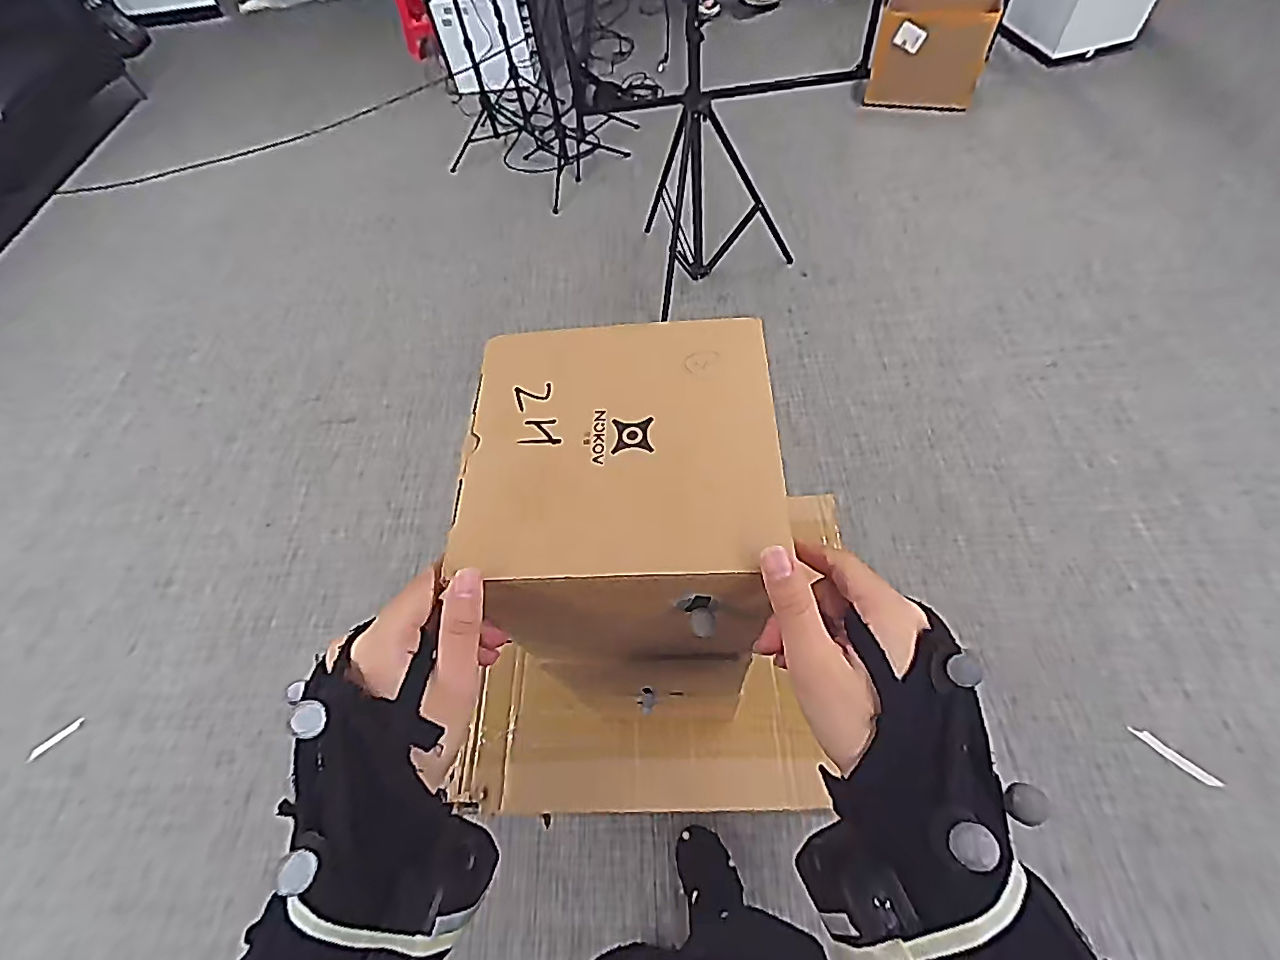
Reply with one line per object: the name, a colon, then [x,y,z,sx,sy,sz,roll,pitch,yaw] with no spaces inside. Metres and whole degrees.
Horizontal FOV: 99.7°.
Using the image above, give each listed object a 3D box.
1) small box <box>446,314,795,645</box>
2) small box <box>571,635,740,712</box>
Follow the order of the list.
small box: [-0.004,0.011,0.372,0.179,0.176,0.168,-3,59,5]
small box: [0.025,0.181,0.652,0.179,0.176,0.168,-2,59,5]
